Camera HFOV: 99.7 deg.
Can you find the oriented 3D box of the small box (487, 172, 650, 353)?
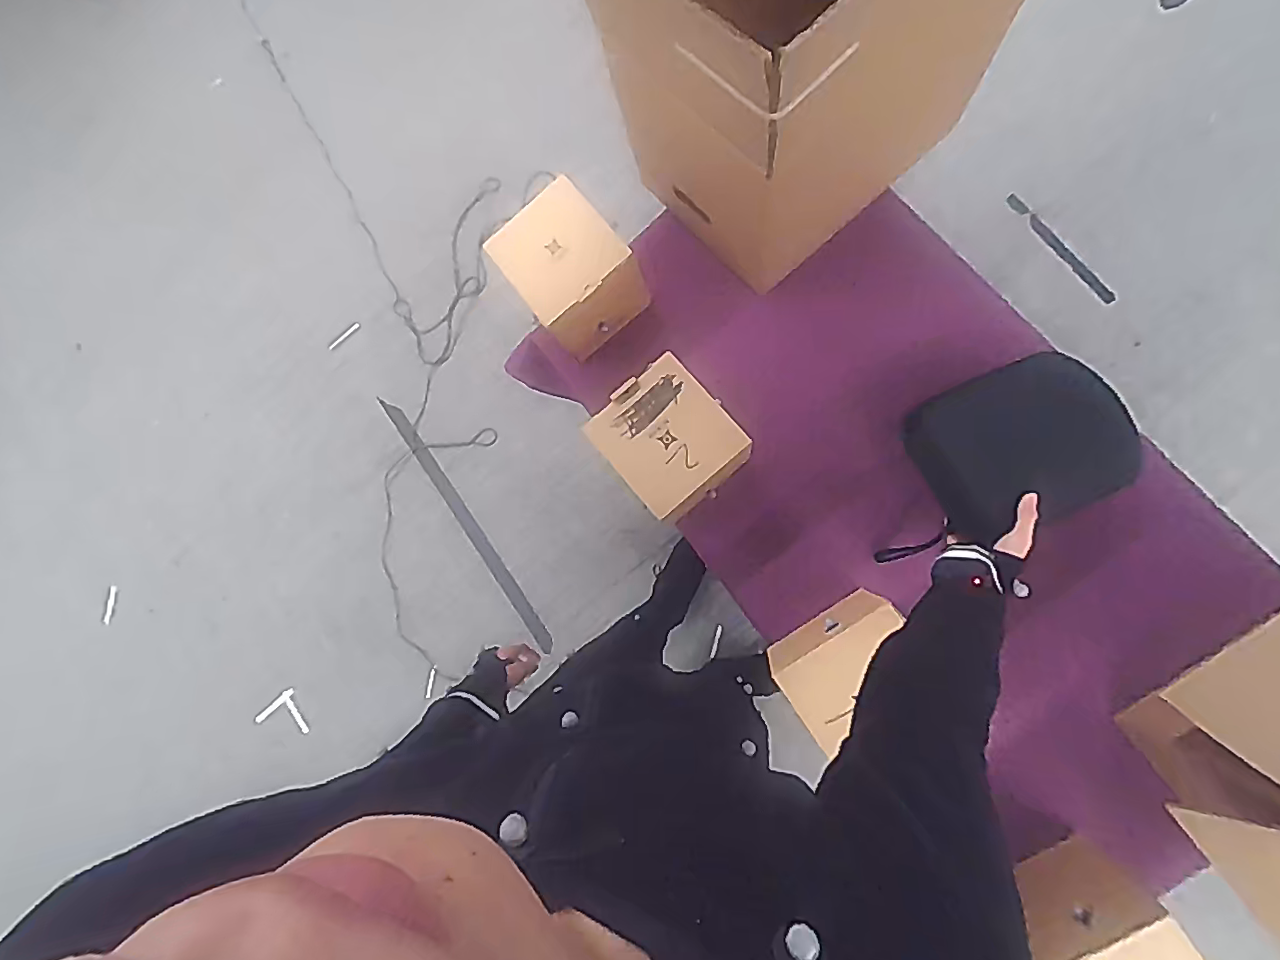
[{"bbox_3d":[-0.106,-0.337,0.872,0.168,0.176,0.179,-39,81,5],"label":"small box"}]

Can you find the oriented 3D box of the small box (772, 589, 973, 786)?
[{"bbox_3d":[0.298,0.266,0.741,0.179,0.176,0.168,-35,79,6],"label":"small box"}]
